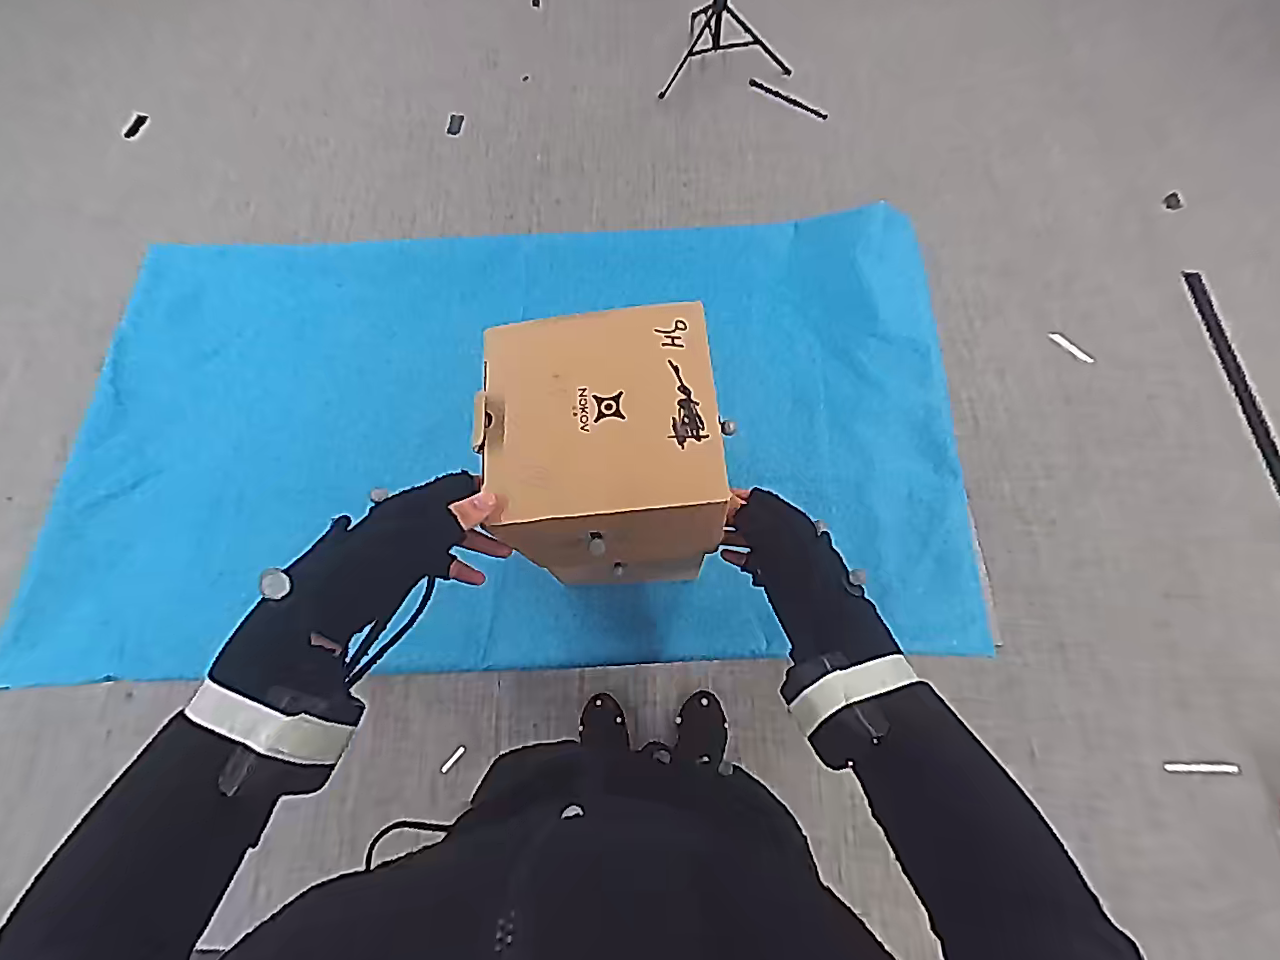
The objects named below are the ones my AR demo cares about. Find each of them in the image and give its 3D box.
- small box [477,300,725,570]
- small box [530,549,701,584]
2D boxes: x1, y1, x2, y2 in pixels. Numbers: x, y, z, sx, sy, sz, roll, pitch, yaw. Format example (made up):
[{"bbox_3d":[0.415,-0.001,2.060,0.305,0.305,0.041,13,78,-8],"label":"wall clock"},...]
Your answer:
[{"bbox_3d":[-0.026,-0.025,0.472,0.179,0.176,0.168,-9,70,3],"label":"small box"},{"bbox_3d":[-0.019,0.027,0.634,0.179,0.176,0.168,-2,70,3],"label":"small box"}]
